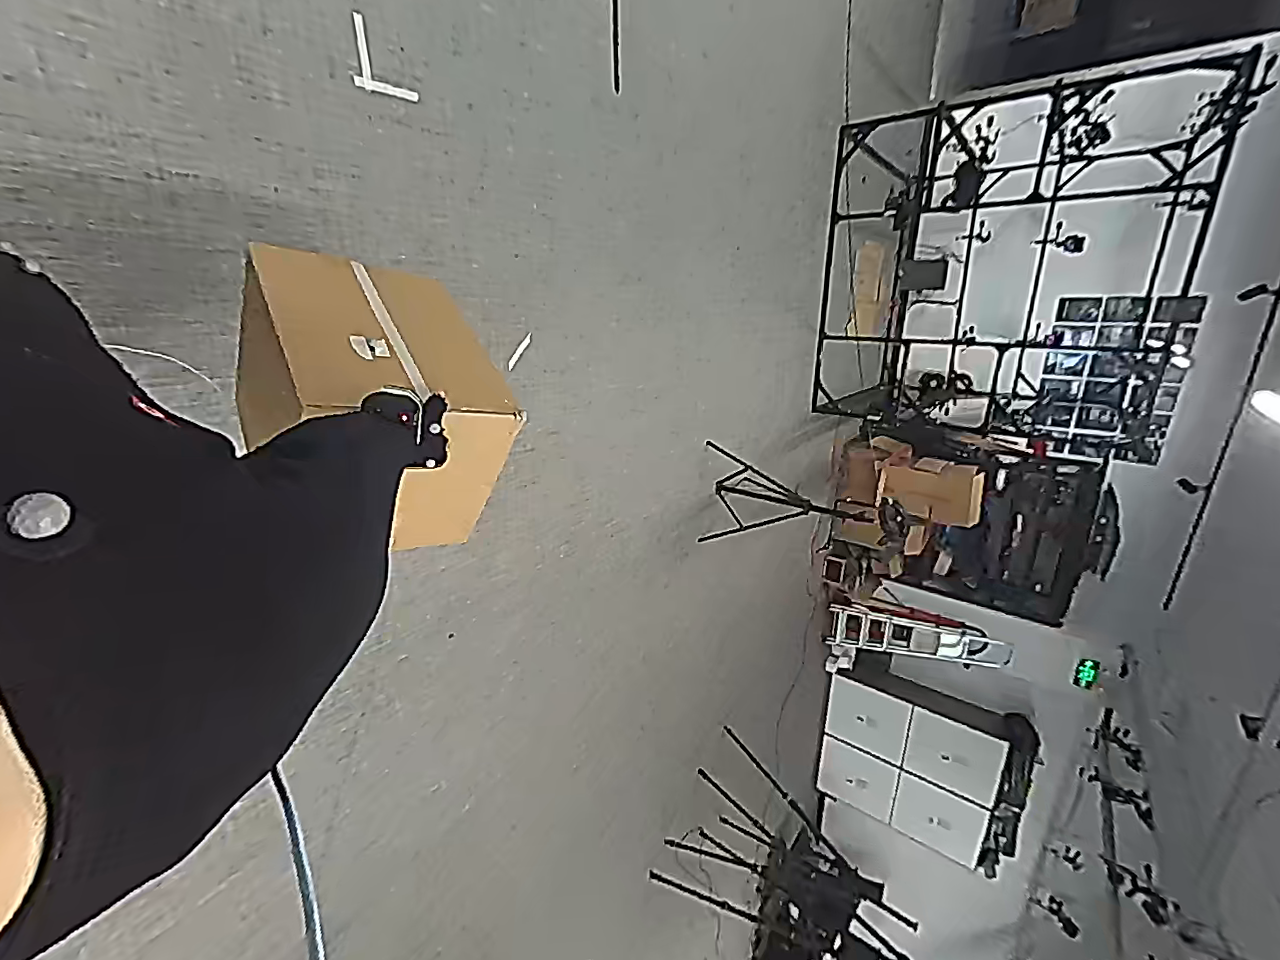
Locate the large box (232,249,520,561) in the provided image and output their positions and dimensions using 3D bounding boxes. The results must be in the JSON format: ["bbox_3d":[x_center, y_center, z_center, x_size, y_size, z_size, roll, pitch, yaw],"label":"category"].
[{"bbox_3d":[-0.477,-0.127,0.944,0.320,0.408,0.320,-6,140,-44],"label":"large box"}]
